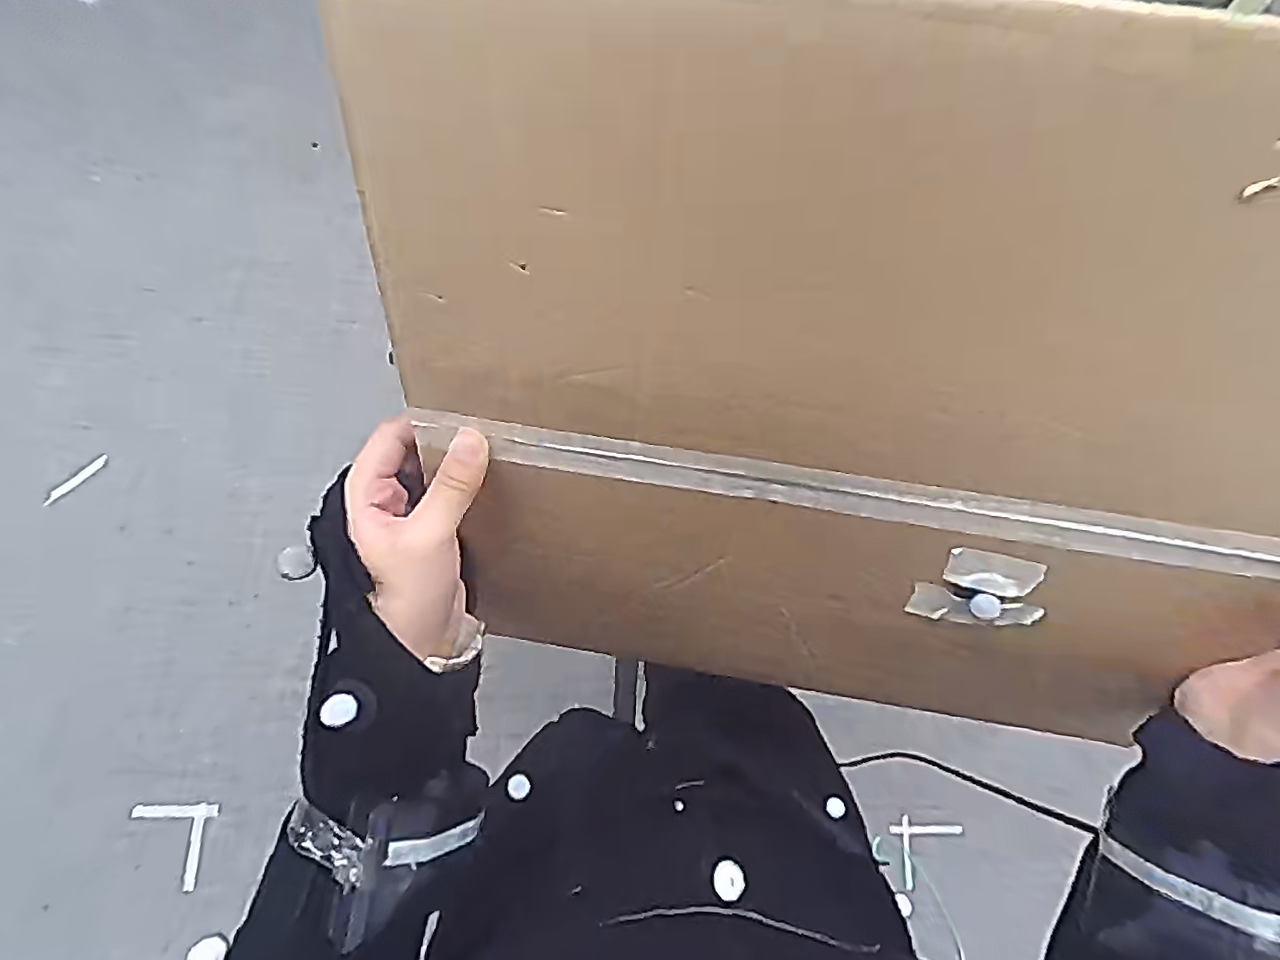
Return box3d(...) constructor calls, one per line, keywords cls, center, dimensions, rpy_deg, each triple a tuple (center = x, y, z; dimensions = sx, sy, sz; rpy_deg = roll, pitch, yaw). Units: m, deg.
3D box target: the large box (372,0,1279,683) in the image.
box3d(cls="large box", center=(0.125, -0.119, 0.339), dimensions=(0.408, 0.320, 0.320), rpy_deg=(8, 40, 3))
